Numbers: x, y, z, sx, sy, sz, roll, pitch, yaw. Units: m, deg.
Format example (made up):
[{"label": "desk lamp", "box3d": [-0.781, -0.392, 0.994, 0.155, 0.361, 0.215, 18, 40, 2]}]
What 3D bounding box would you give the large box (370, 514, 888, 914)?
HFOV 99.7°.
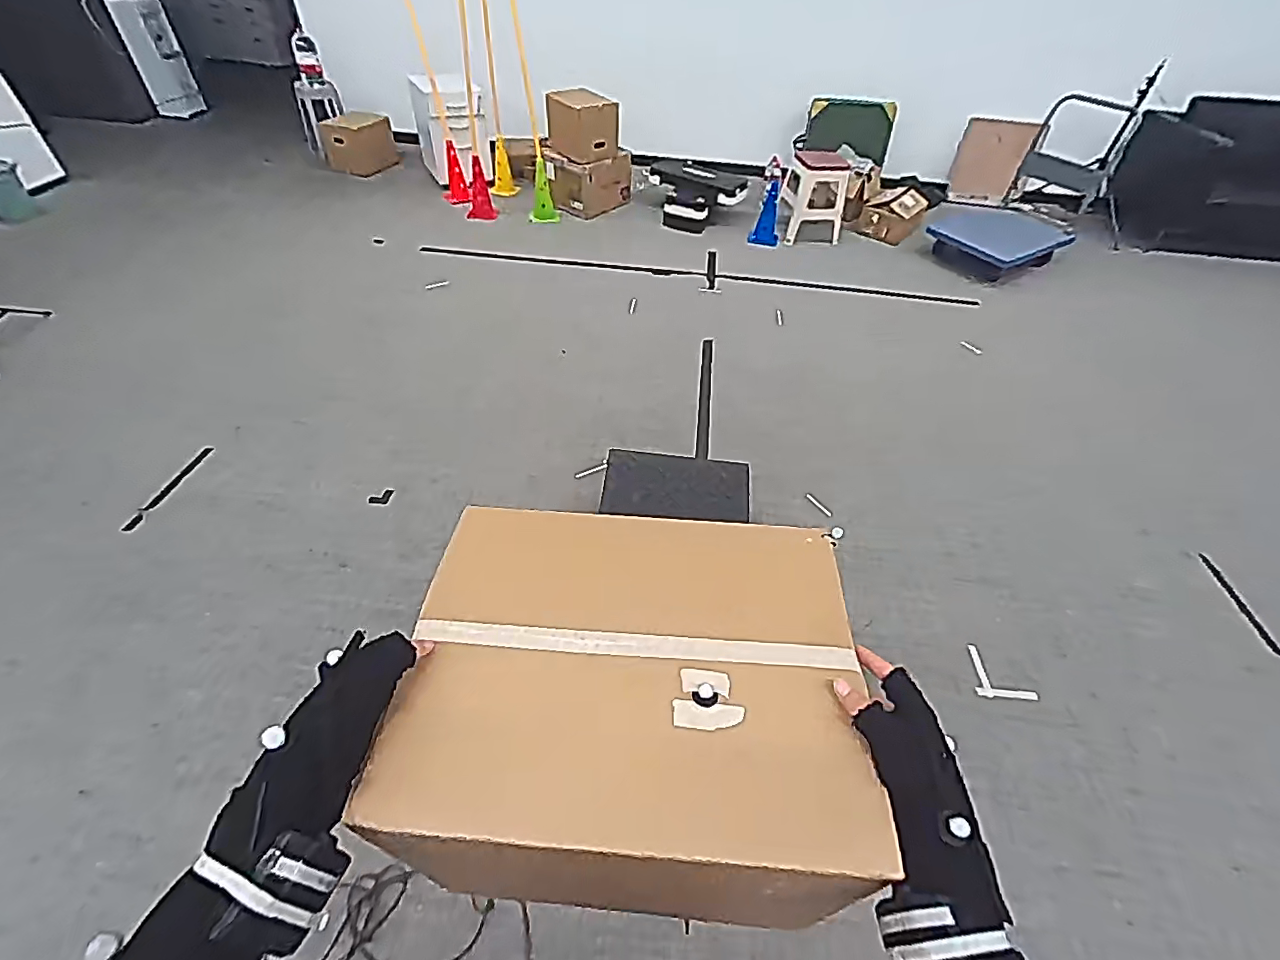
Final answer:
[{"label": "large box", "box3d": [-0.005, 0.262, 0.614, 0.408, 0.320, 0.320, 4, 46, 3]}]
